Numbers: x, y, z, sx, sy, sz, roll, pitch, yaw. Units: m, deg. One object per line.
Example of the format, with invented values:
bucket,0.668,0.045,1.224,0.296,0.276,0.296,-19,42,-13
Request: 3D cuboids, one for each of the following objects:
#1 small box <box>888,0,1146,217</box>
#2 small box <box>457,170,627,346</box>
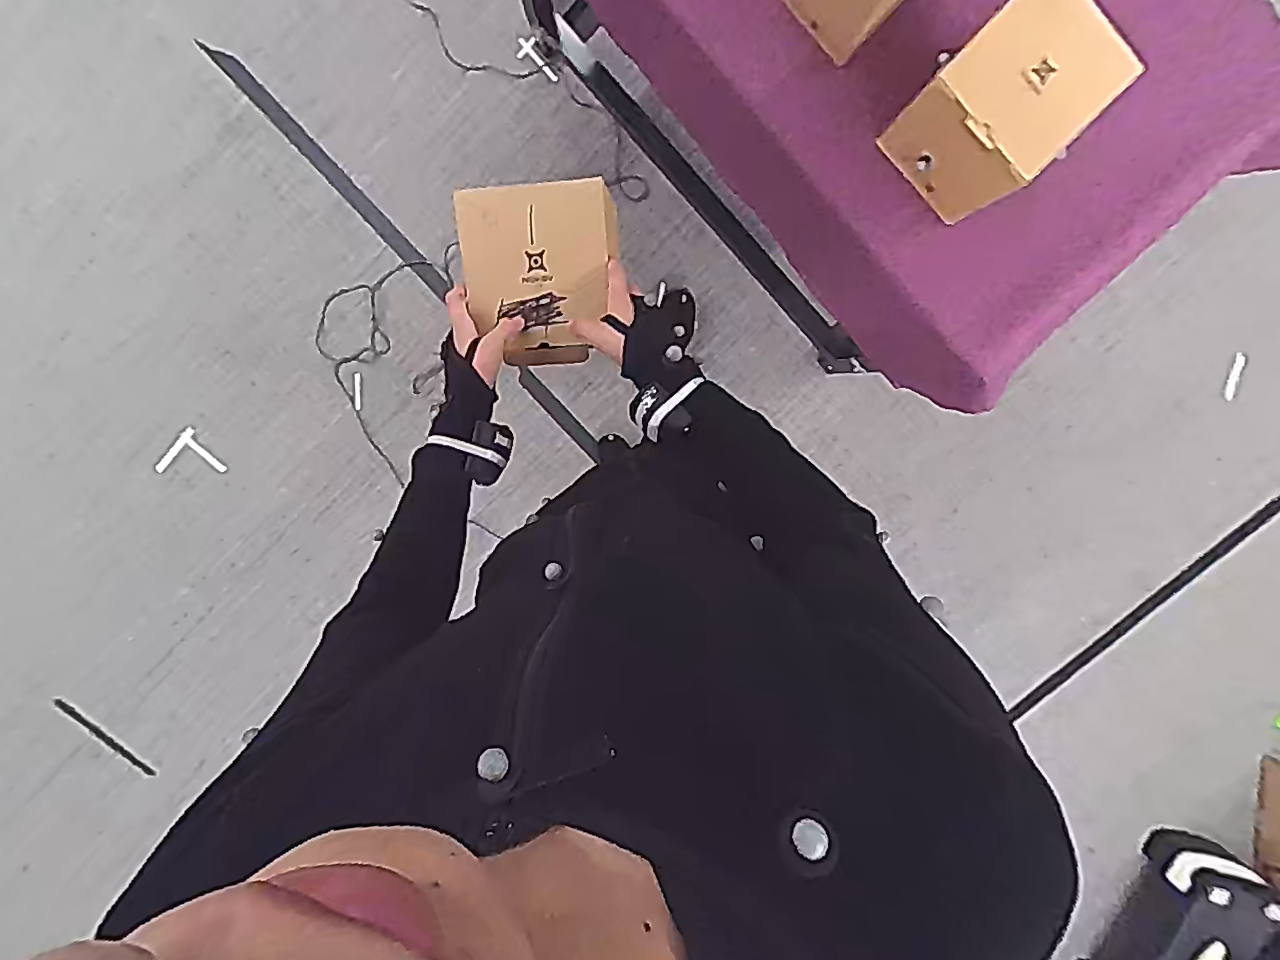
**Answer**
small box,0.465,-0.483,0.698,0.168,0.176,0.179,44,98,-7
small box,-0.108,-0.265,0.677,0.168,0.176,0.179,-3,106,3
